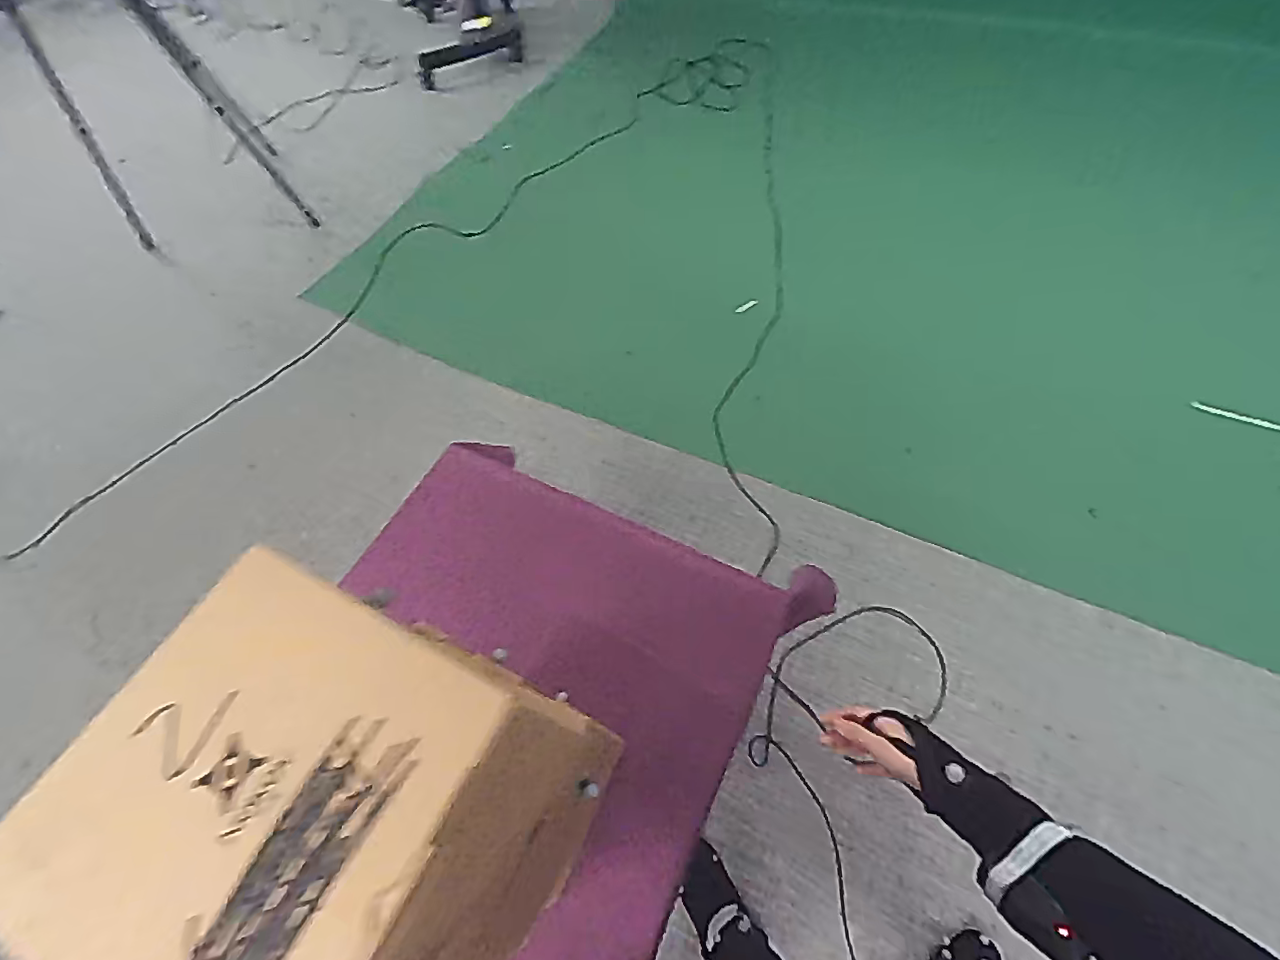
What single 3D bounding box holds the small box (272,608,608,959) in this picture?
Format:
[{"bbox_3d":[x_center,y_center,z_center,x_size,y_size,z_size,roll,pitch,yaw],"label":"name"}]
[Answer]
[{"bbox_3d":[-0.139,0.240,0.452,0.168,0.176,0.179,21,64,19],"label":"small box"}]
